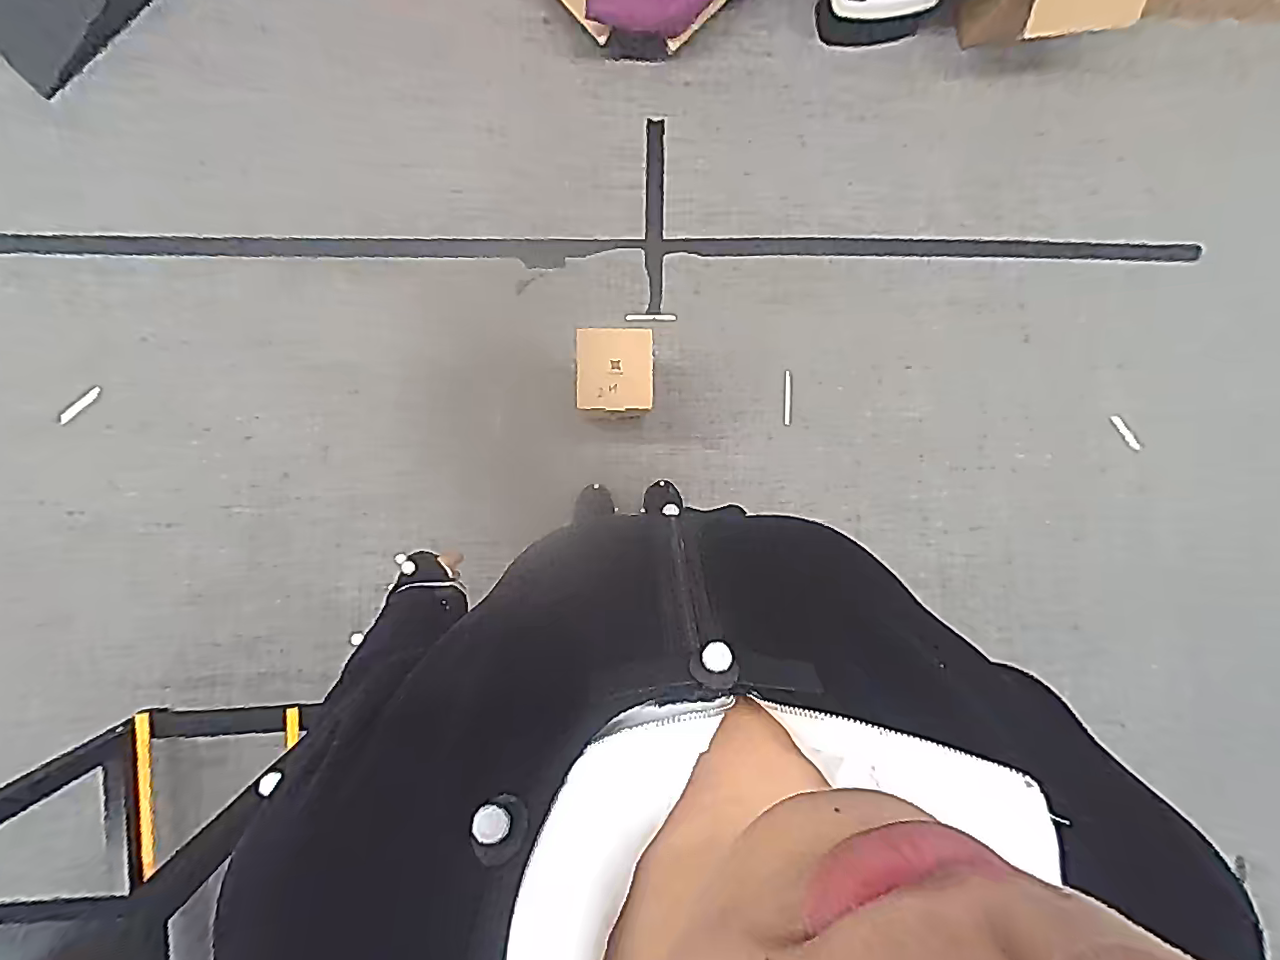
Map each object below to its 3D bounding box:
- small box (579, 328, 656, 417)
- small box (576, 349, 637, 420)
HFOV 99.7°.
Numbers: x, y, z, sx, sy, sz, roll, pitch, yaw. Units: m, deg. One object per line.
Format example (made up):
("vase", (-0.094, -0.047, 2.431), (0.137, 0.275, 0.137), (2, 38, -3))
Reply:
("small box", (-0.054, -0.240, 1.238), (0.168, 0.176, 0.179), (0, 93, -3))
("small box", (-0.069, -0.246, 1.402), (0.179, 0.176, 0.168), (-4, 93, -4))
